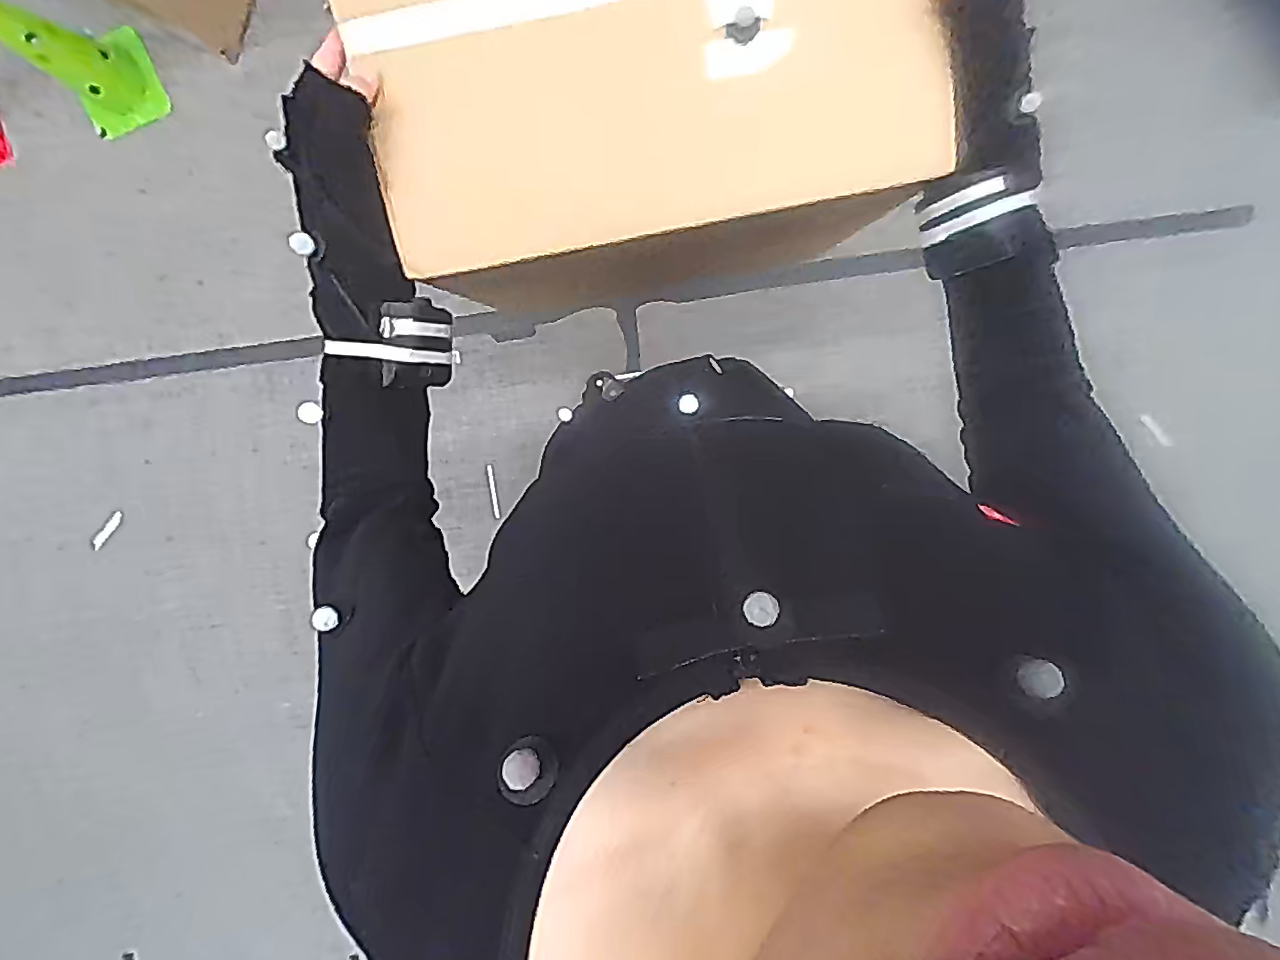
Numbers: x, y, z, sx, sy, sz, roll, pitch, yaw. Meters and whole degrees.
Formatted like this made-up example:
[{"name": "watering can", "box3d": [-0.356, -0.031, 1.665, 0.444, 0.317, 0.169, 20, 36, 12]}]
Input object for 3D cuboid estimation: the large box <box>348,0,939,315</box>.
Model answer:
[{"name": "large box", "box3d": [-0.004, -0.368, 0.521, 0.408, 0.320, 0.320, -10, 101, 2]}]
